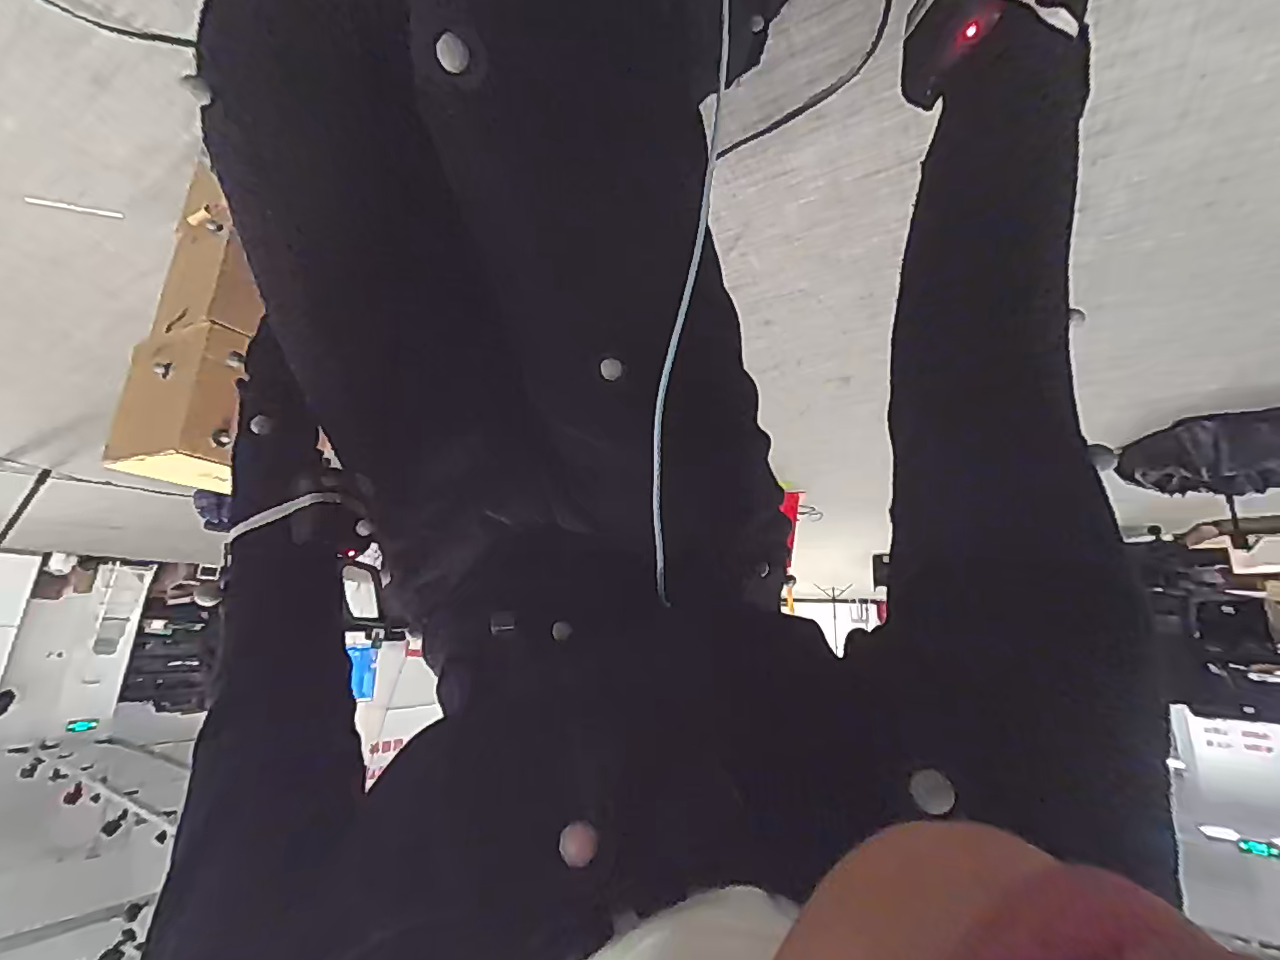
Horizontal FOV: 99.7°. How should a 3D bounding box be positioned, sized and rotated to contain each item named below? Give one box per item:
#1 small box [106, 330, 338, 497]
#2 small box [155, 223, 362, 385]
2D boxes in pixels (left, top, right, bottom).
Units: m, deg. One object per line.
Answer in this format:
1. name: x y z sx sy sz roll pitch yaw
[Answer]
1. small box: -0.546 -0.079 0.730 0.168 0.176 0.179 -4 163 23
2. small box: -0.533 -0.236 0.770 0.168 0.176 0.179 -6 164 28
